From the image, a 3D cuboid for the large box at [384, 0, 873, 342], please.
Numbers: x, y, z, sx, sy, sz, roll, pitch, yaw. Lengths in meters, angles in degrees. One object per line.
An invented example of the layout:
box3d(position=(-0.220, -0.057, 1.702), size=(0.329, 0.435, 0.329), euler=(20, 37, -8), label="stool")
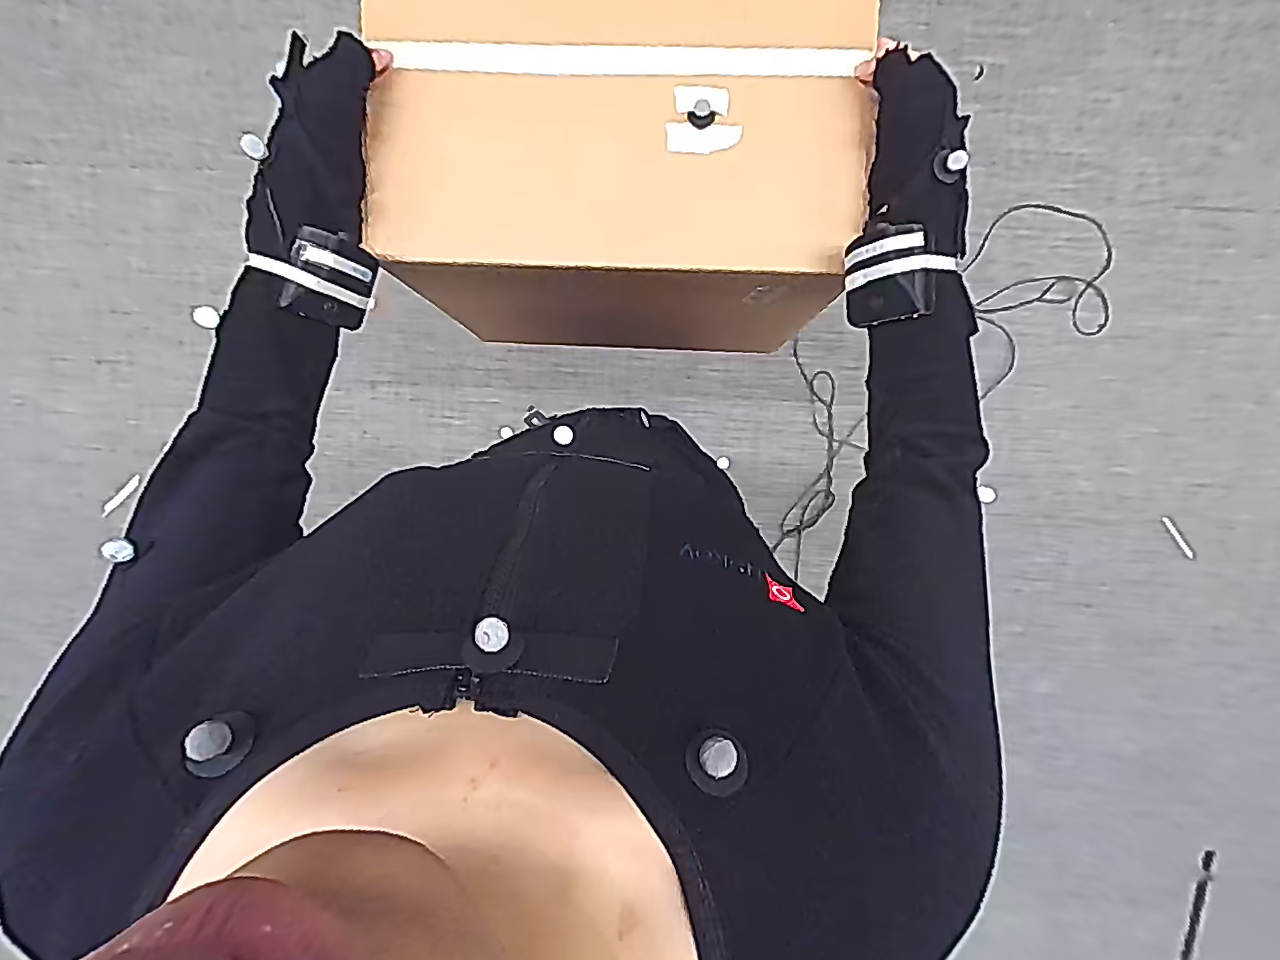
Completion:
box3d(position=(-0.011, -0.339, 0.590), size=(0.408, 0.320, 0.320), euler=(2, 92, 1), label="large box")
